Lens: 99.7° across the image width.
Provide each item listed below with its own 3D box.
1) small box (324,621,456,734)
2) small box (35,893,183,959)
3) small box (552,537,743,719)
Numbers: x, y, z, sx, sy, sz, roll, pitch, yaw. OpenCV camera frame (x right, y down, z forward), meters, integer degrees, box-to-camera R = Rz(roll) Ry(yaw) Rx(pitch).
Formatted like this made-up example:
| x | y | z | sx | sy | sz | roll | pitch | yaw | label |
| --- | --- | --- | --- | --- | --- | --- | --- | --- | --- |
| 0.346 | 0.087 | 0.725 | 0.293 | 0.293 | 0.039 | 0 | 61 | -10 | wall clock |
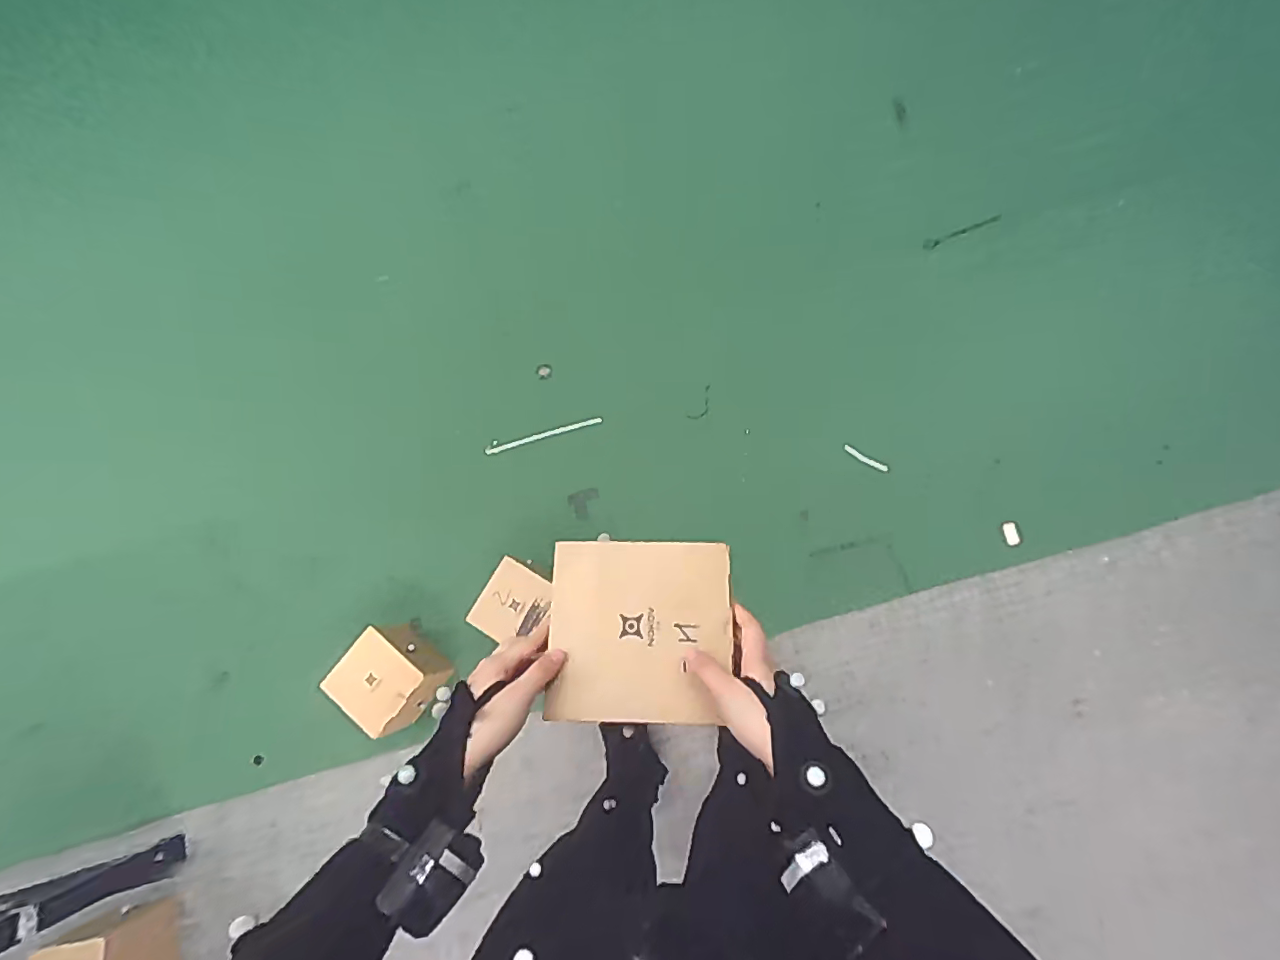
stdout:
| x | y | z | sx | sy | sz | roll | pitch | yaw | label |
| --- | --- | --- | --- | --- | --- | --- | --- | --- | --- |
| -0.564 | 0.443 | 1.242 | 0.179 | 0.176 | 0.168 | 37 | 83 | 9 | small box |
| -1.126 | 1.036 | 1.157 | 0.168 | 0.176 | 0.179 | -12 | 77 | 1 | small box |
| 0.011 | 0.161 | 0.587 | 0.179 | 0.176 | 0.168 | 1 | 72 | 2 | small box |
